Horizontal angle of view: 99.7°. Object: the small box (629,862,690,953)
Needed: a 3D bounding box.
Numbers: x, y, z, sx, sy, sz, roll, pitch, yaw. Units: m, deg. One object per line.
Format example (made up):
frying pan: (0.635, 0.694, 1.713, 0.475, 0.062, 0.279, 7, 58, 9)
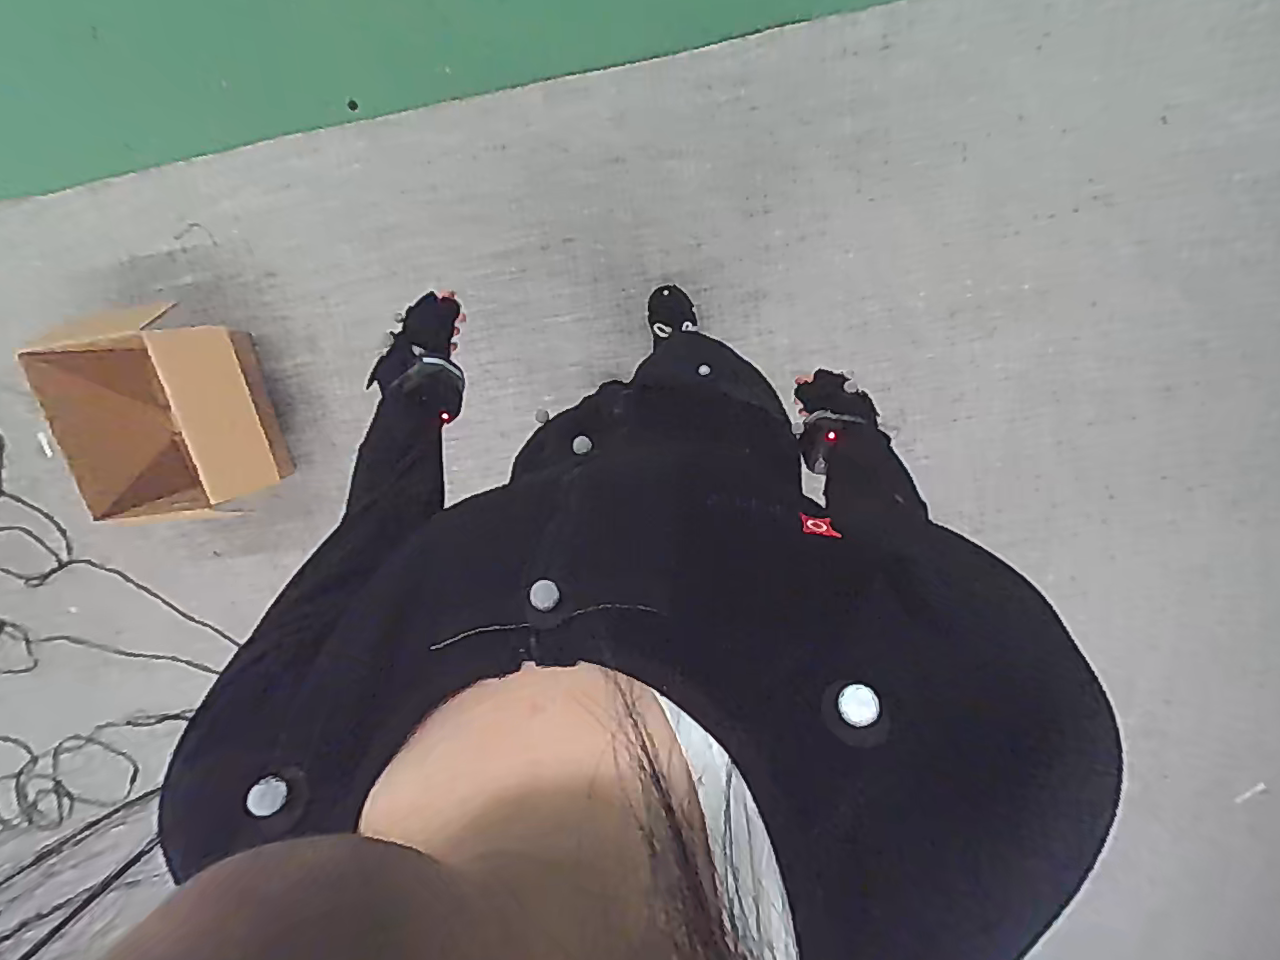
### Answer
small box: (0.068, 1.415, 1.797, 0.179, 0.176, 0.168, -10, 104, 4)
